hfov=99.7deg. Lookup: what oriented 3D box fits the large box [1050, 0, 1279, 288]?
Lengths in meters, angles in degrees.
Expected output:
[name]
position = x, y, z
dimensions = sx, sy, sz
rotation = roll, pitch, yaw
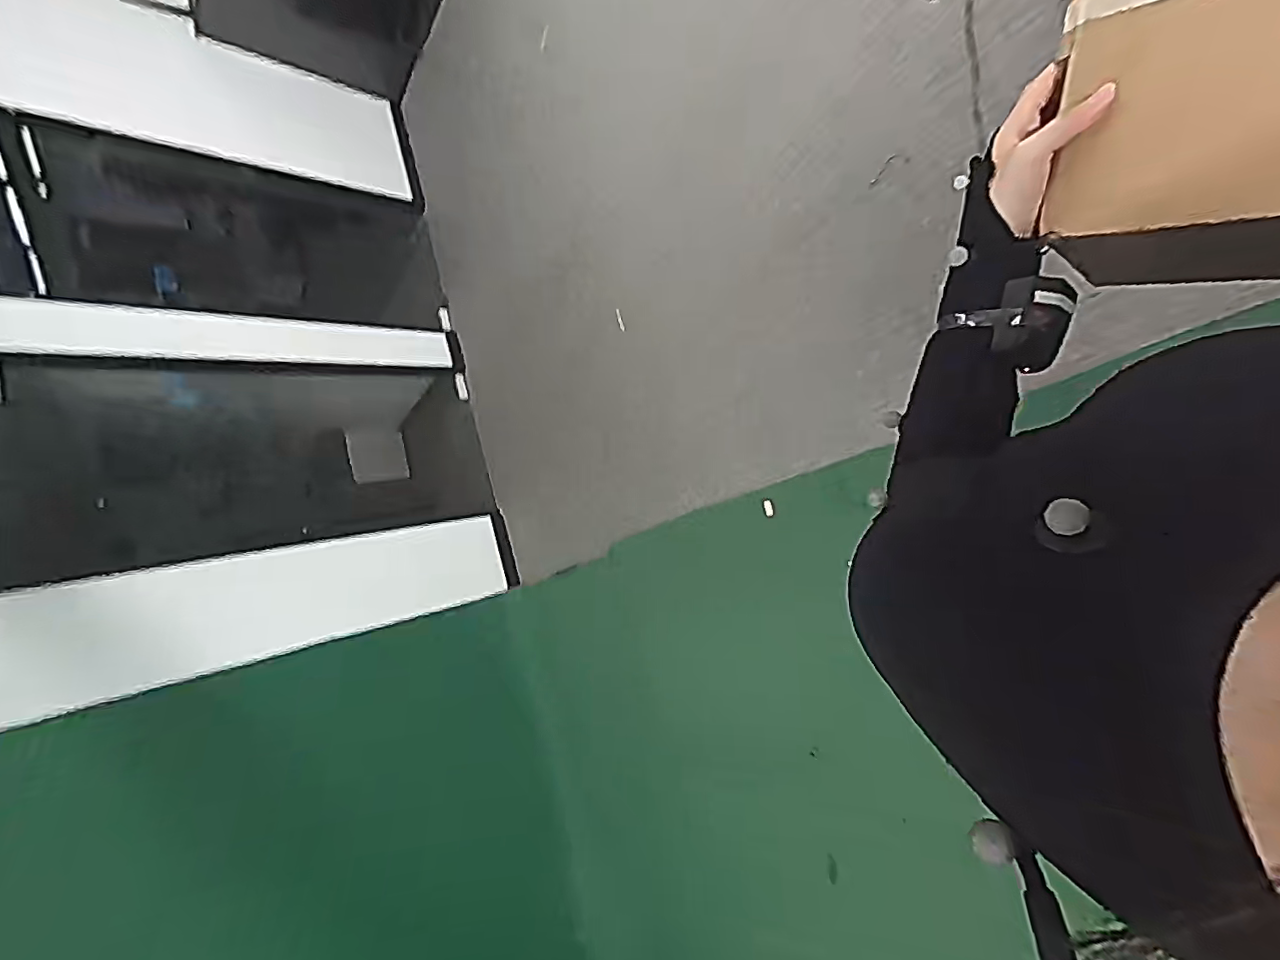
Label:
[large box]
position = 0.571, -0.328, 0.371
dimensions = 0.408, 0.320, 0.320
rotation = 13, 107, 43
